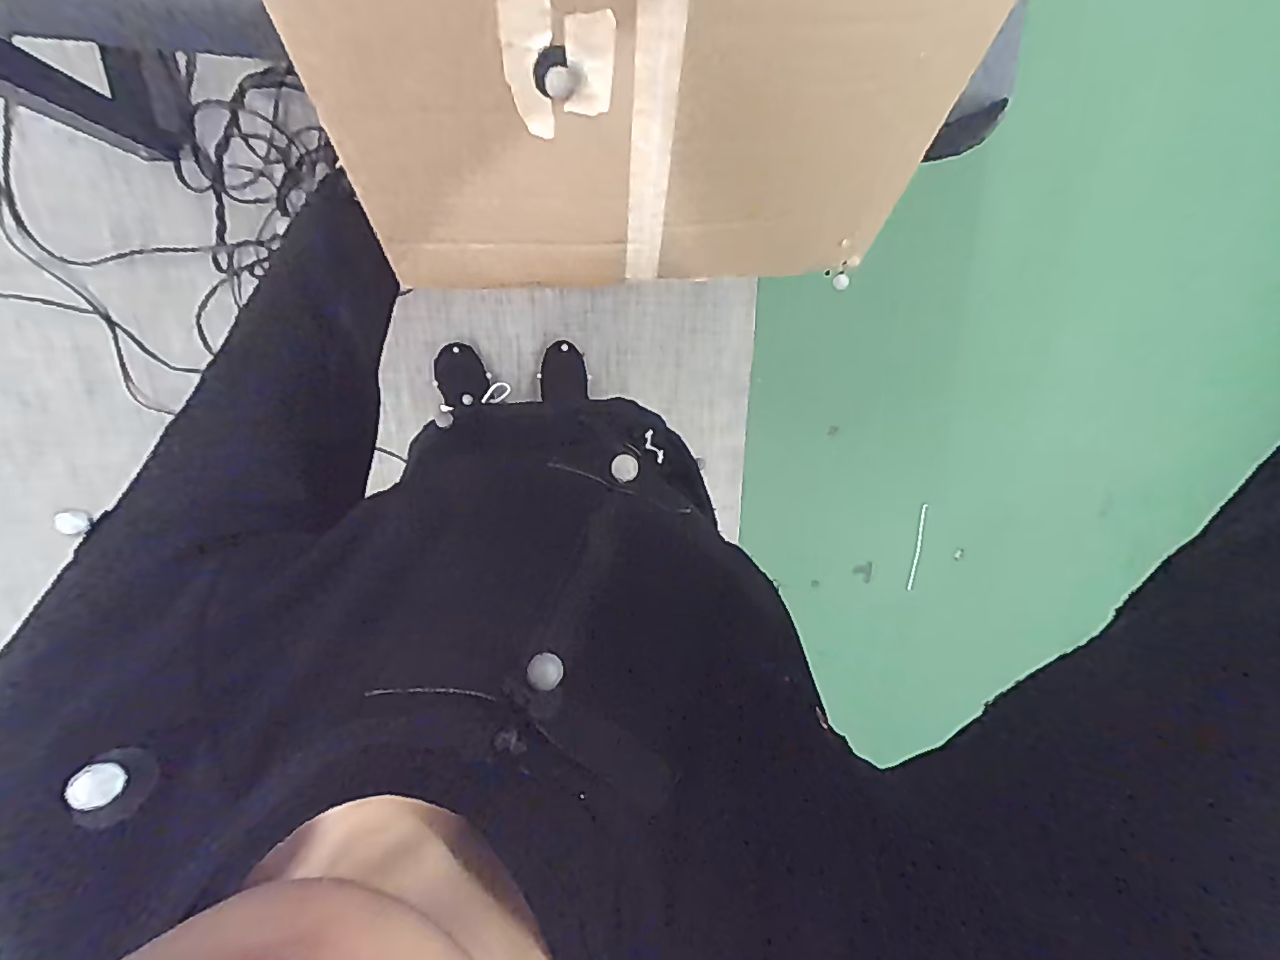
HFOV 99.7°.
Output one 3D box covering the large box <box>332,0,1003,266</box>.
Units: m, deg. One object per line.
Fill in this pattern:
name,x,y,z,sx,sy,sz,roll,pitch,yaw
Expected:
large box,0.006,-0.369,0.247,0.320,0.408,0.320,-5,70,-5
